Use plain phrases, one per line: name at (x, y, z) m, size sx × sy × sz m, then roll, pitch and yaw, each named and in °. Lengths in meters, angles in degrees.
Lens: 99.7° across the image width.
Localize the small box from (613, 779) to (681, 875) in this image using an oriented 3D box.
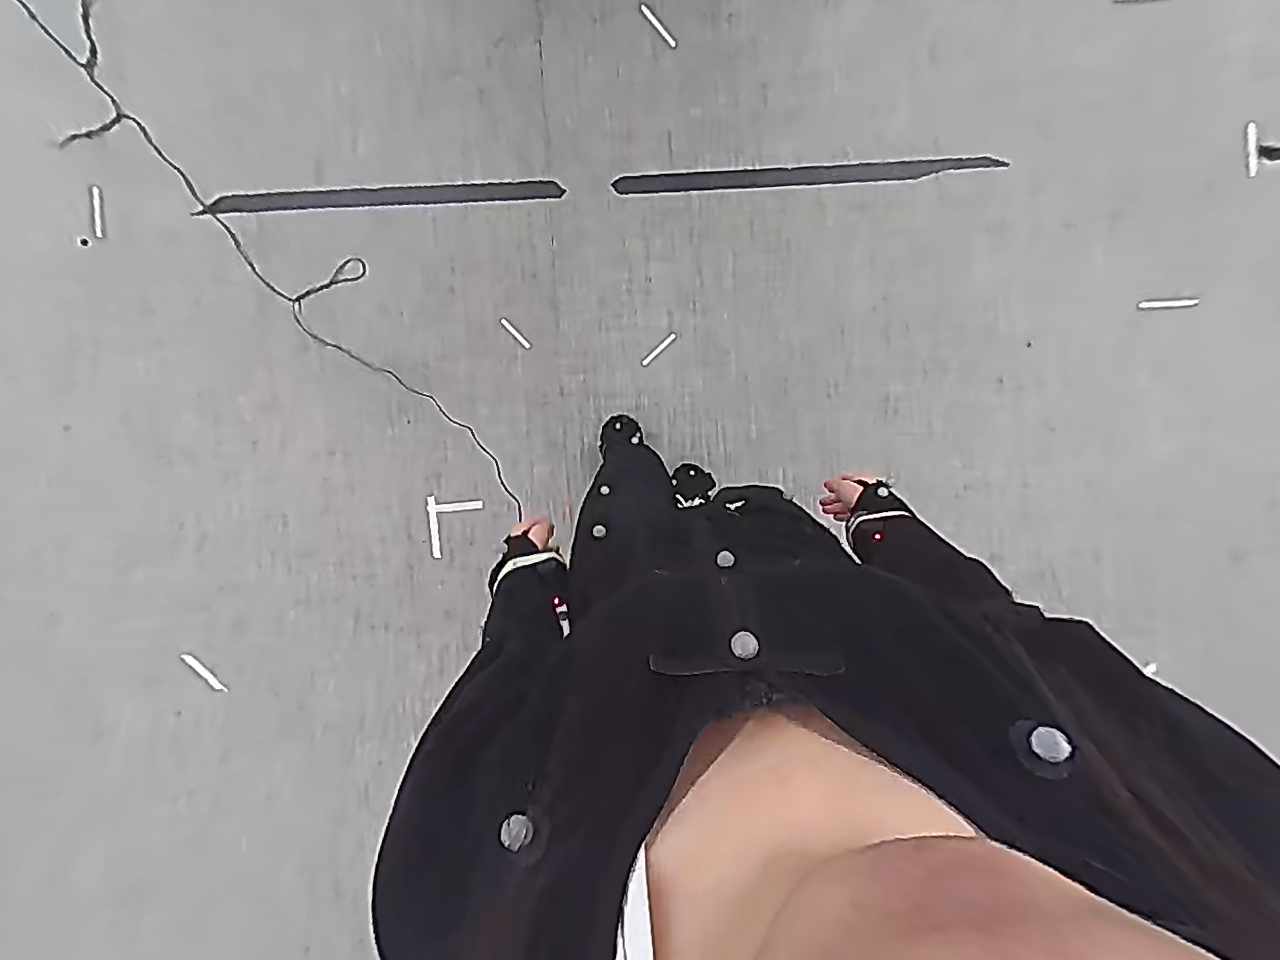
small box at (0.019, 0.926, 1.448) m, size 0.168 × 0.176 × 0.179 m, roll -5°, pitch 92°, yaw 2°
